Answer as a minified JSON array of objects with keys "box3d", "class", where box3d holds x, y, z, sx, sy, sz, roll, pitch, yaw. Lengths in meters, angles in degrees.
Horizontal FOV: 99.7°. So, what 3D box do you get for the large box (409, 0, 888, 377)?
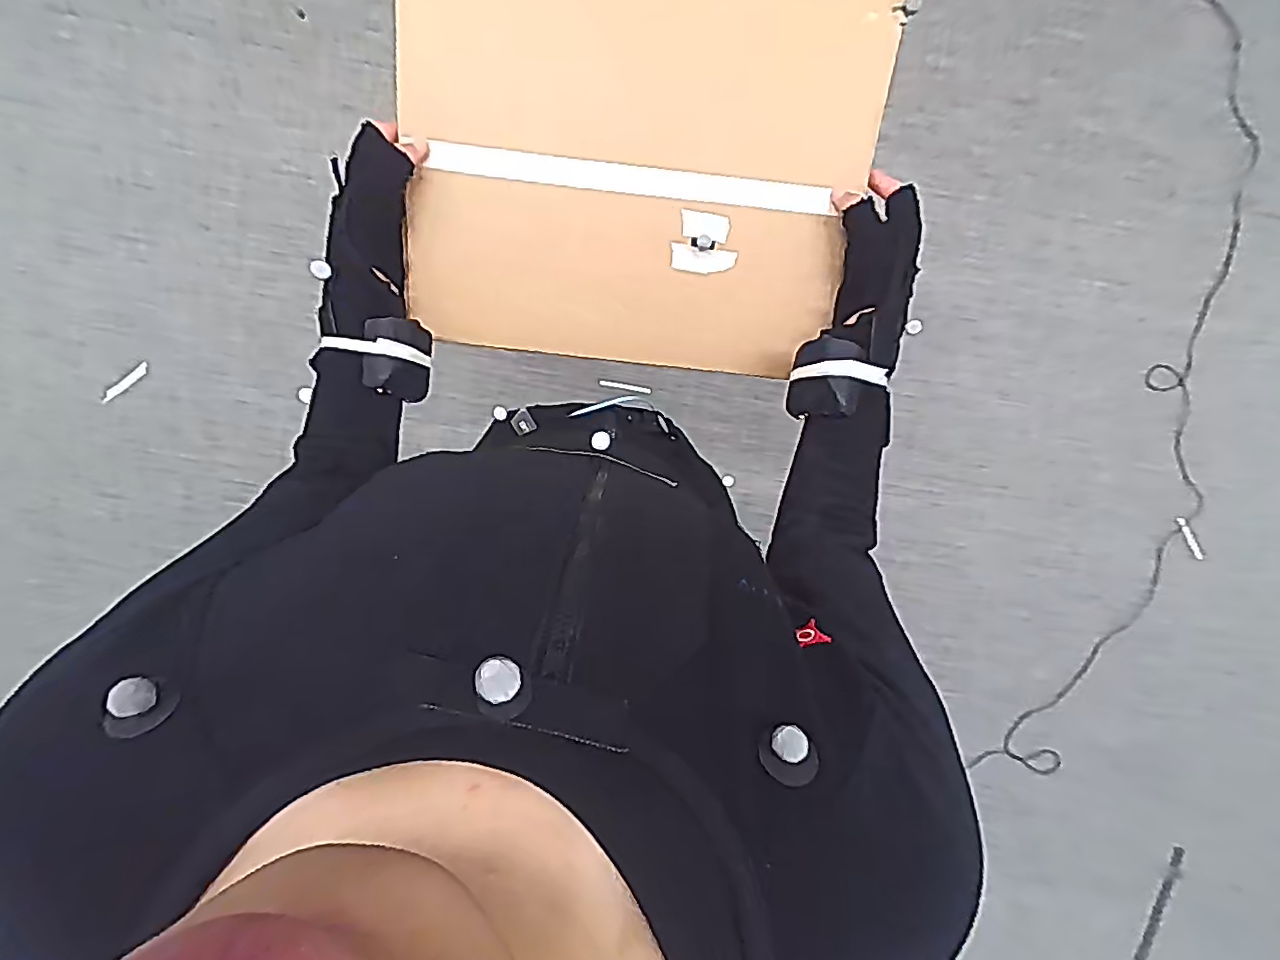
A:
[{"box3d":[-0.007,-0.309,0.628,0.408,0.320,0.320,5,109,-3],"class":"large box"}]
